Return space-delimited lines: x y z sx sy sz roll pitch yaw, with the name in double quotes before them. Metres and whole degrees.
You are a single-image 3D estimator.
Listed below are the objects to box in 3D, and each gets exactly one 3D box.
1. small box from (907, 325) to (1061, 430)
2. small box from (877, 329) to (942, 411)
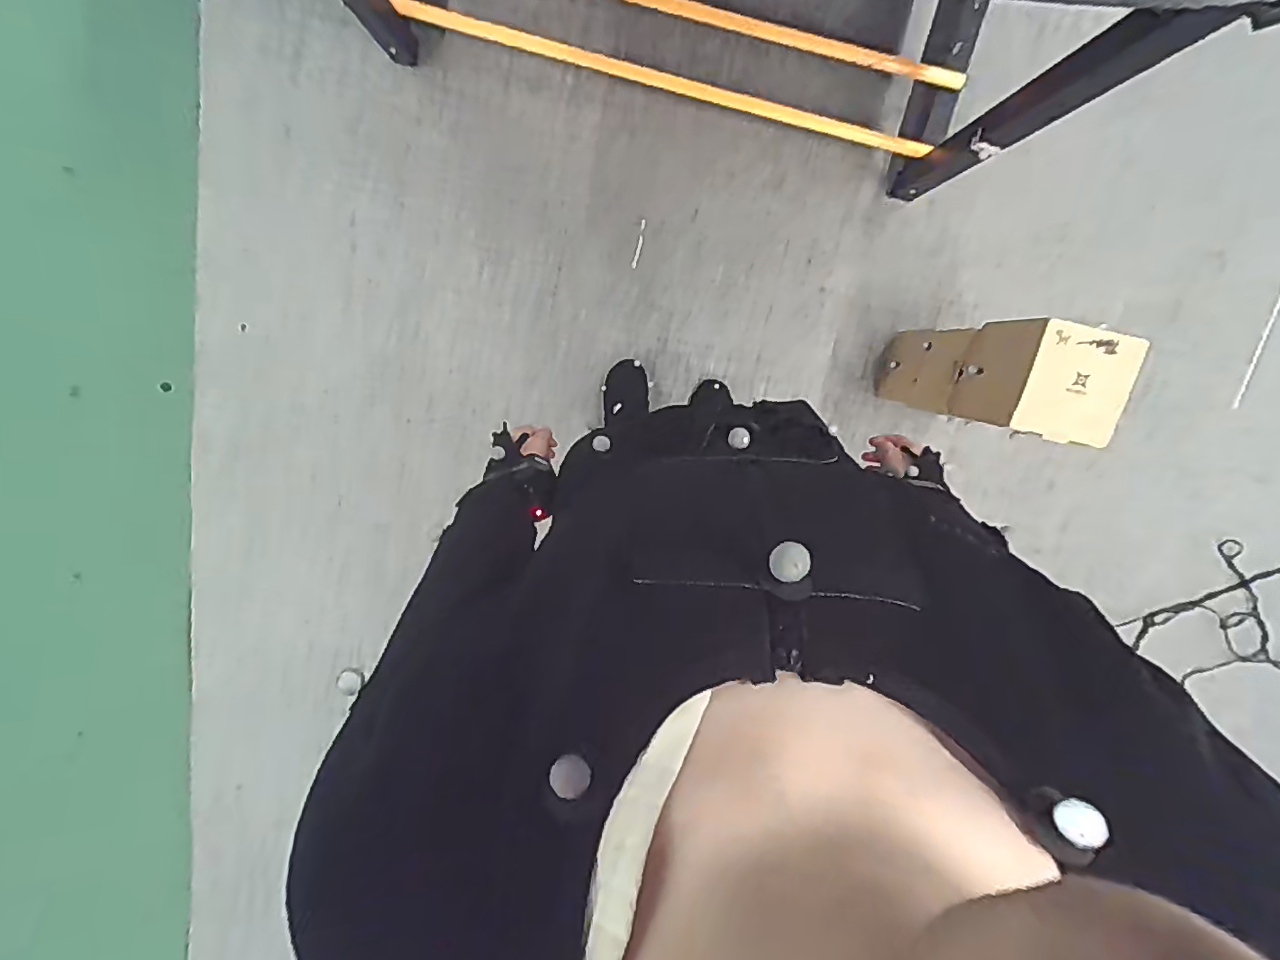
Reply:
"small box" 0.669 -0.203 1.076 0.179 0.176 0.168 11 103 -4
"small box" 0.680 -0.241 1.236 0.179 0.176 0.168 13 102 -3
